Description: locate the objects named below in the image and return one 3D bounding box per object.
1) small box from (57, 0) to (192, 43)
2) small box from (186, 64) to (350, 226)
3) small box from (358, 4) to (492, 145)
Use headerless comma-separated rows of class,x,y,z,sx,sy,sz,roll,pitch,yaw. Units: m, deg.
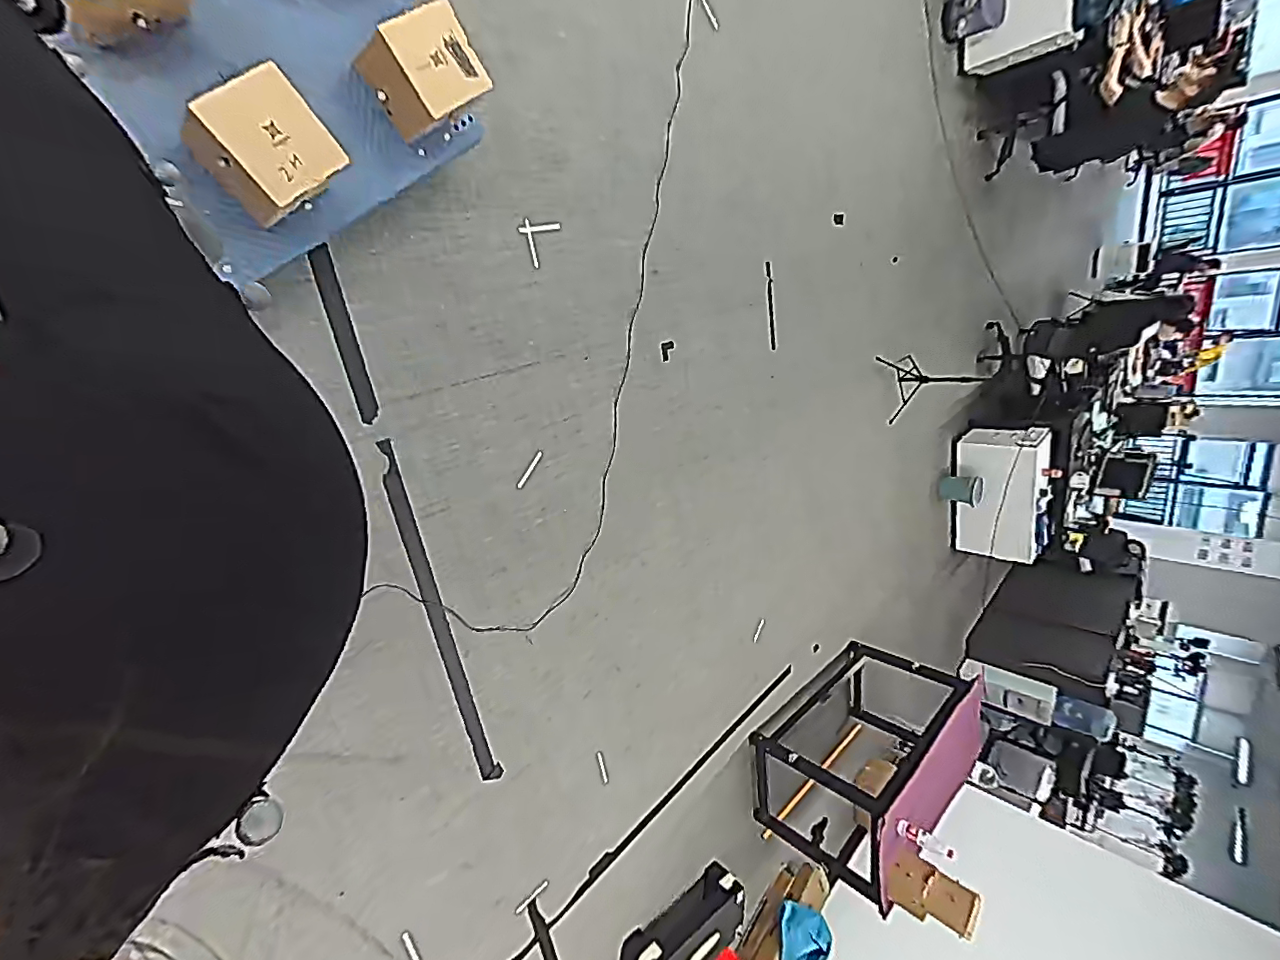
small box,-0.822,-0.814,0.813,0.168,0.176,0.179,-48,128,-27
small box,-0.680,-0.598,0.985,0.168,0.176,0.179,-52,128,-23
small box,-0.458,-0.853,1.148,0.179,0.176,0.168,-49,127,-25
